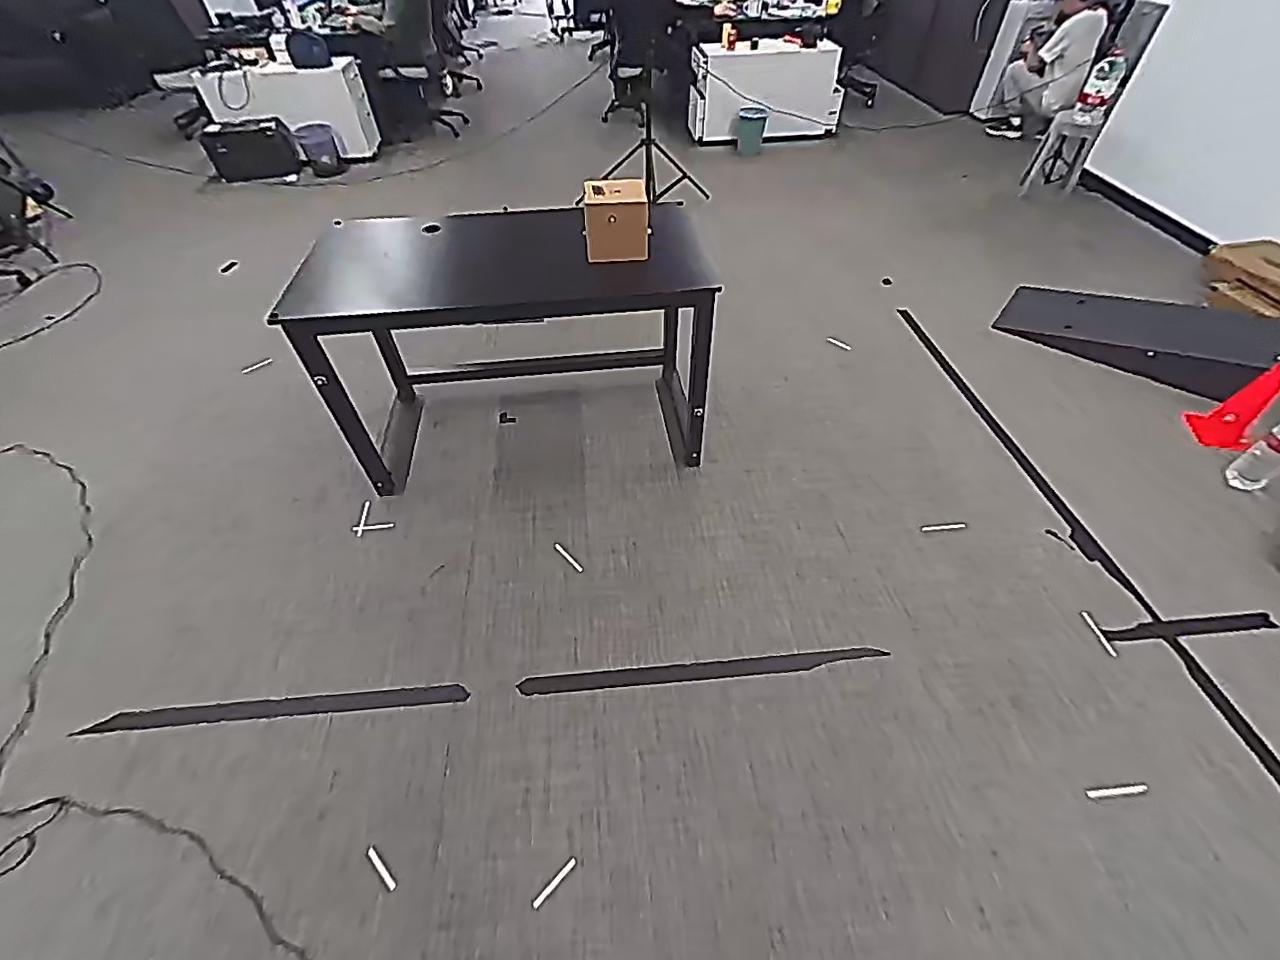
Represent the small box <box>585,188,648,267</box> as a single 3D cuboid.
[{"bbox_3d":[-0.069,-0.745,1.602,0.179,0.176,0.168,-4,48,-3],"label":"small box"}]
